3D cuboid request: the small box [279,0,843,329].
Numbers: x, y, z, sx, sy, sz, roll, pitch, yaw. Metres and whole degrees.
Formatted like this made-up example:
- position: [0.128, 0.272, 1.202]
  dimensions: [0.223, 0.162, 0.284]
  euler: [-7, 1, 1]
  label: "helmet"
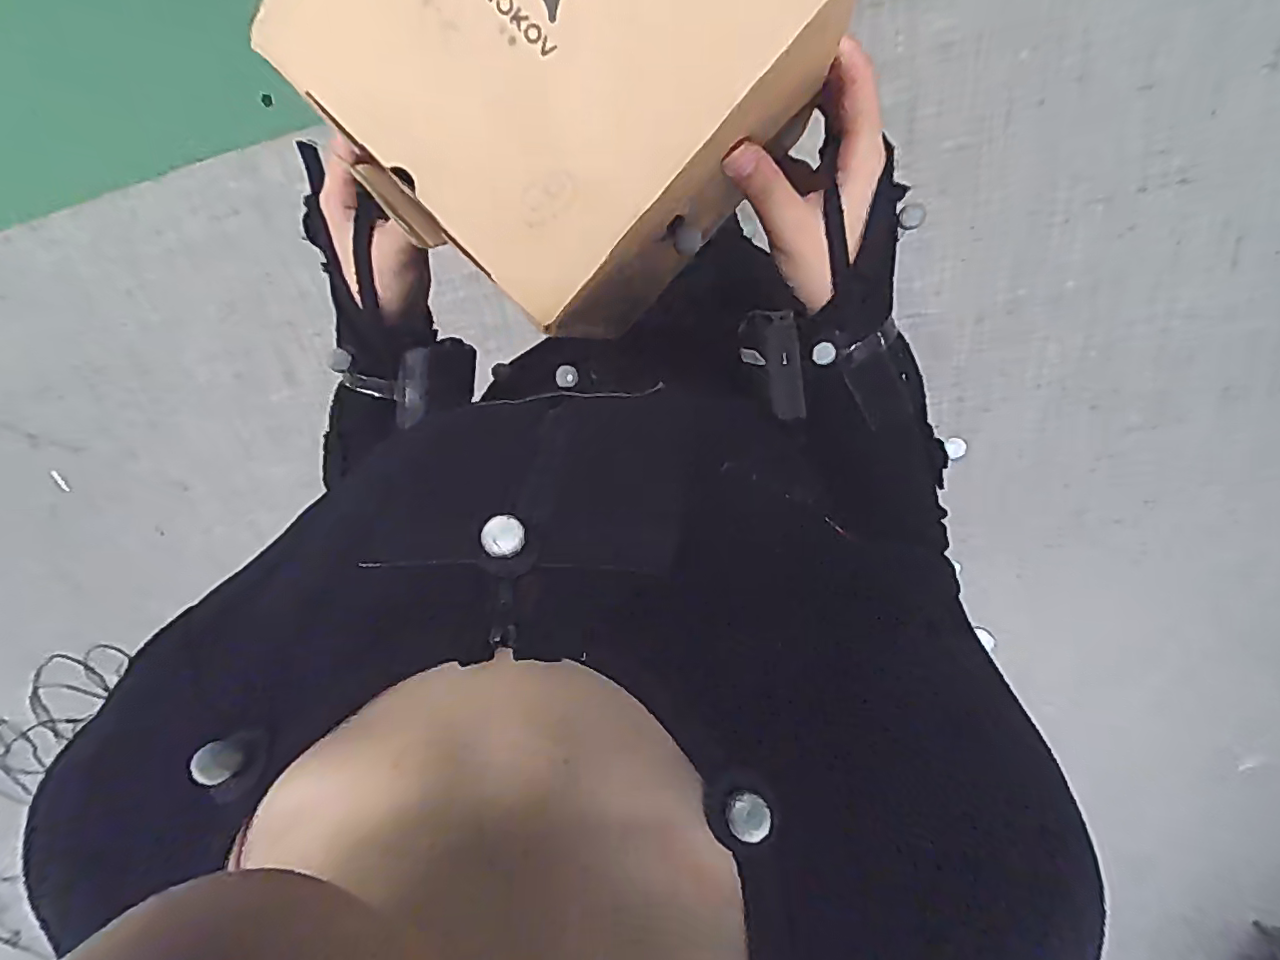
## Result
- position: [-0.024, -0.197, 0.282]
  dimensions: [0.168, 0.176, 0.179]
  euler: [44, 107, -4]
  label: "small box"
